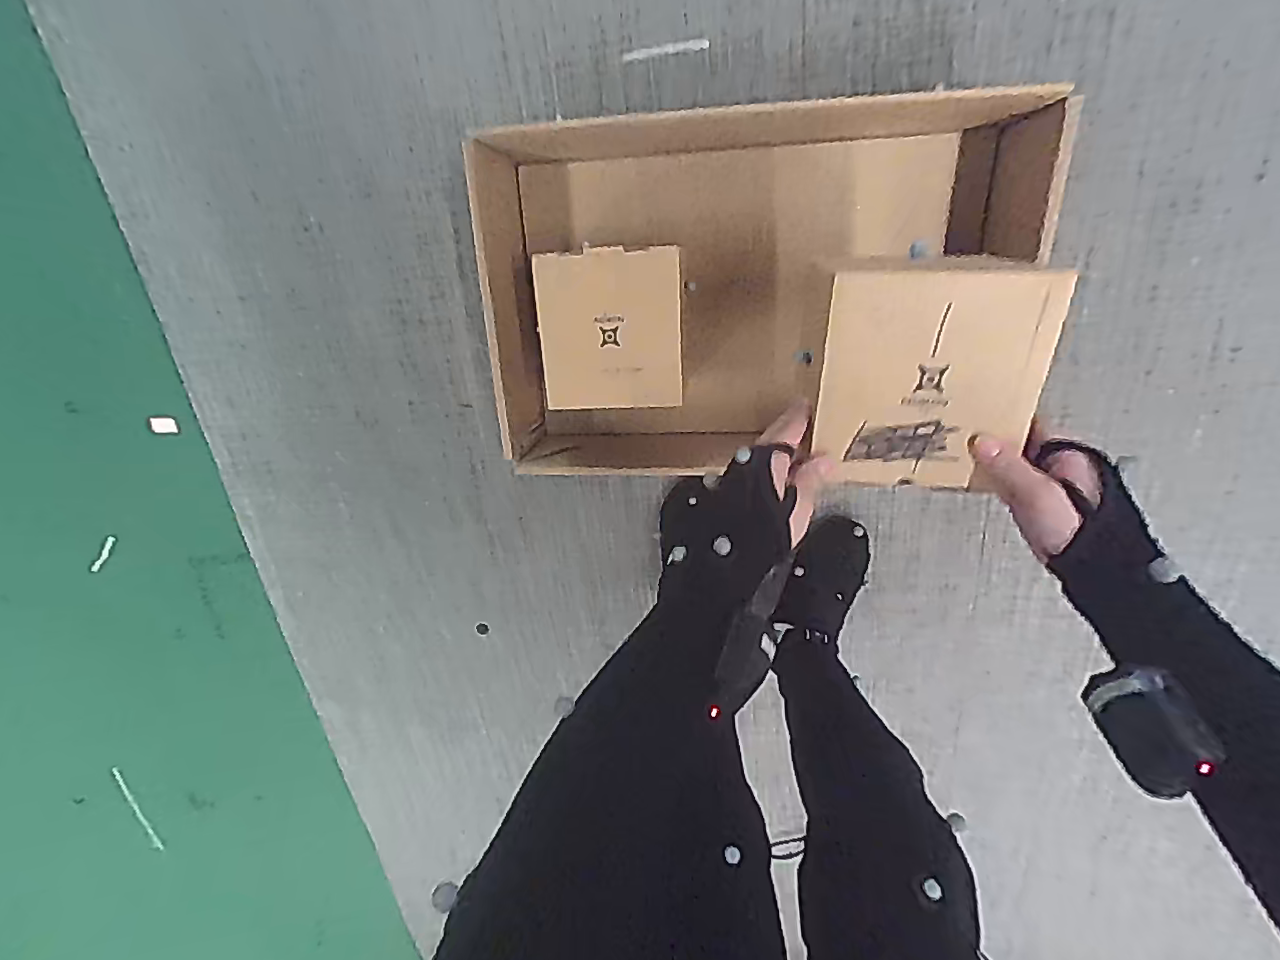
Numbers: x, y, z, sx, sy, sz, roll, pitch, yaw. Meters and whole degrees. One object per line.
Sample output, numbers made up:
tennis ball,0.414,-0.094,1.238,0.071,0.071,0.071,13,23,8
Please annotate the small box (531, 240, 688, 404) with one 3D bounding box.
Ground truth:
small box,-0.027,-0.200,0.683,0.168,0.176,0.179,0,111,8

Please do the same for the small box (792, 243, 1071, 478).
small box,0.235,-0.119,0.495,0.168,0.176,0.179,3,115,9
